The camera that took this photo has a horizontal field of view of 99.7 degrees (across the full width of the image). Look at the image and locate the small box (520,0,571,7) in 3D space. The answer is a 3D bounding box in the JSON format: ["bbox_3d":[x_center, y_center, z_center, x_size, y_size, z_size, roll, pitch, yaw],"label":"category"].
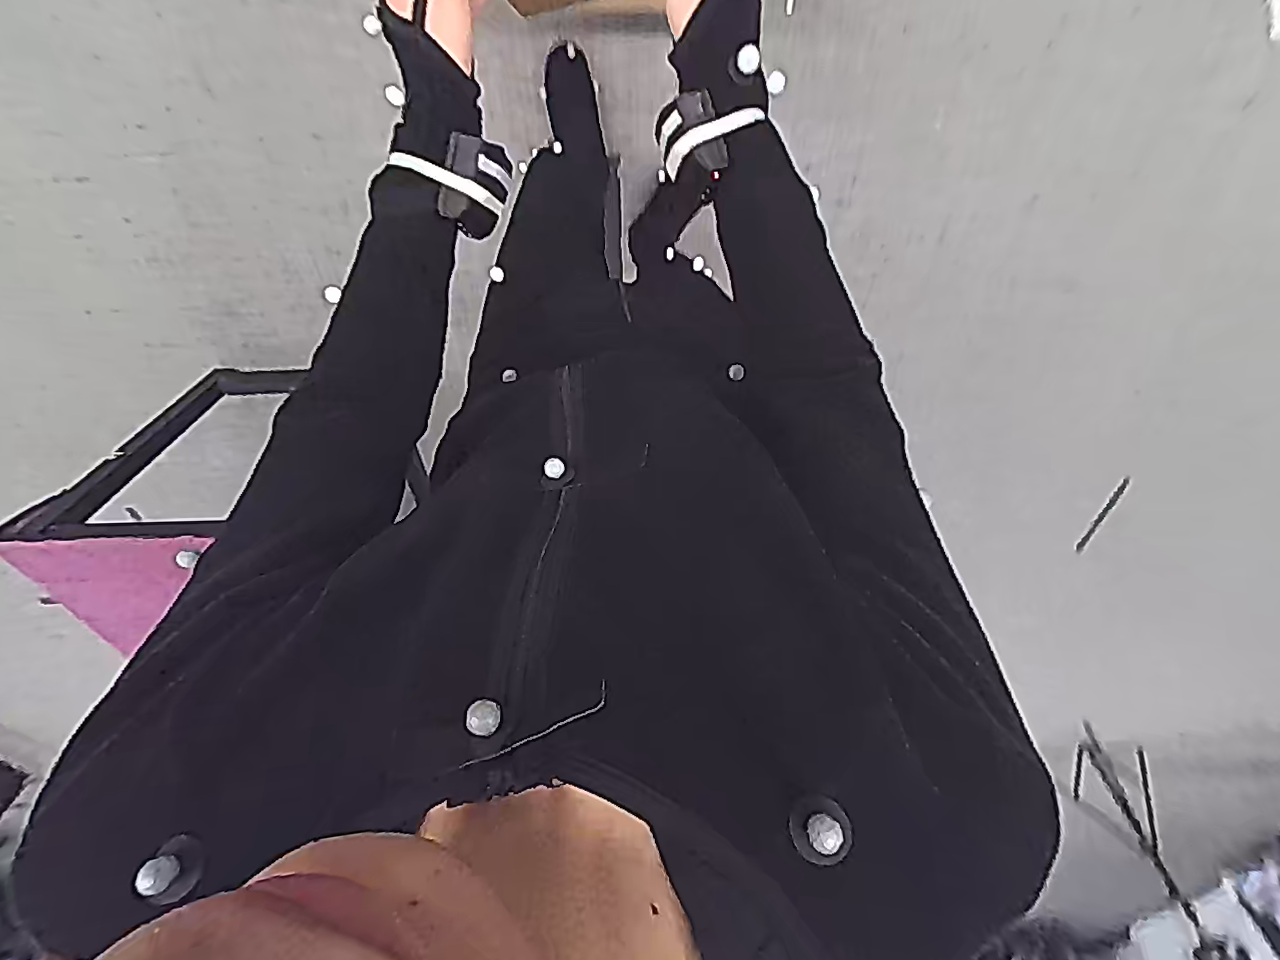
[{"bbox_3d":[-0.058,-0.516,0.430,0.168,0.176,0.179,-9,118,7],"label":"small box"}]
